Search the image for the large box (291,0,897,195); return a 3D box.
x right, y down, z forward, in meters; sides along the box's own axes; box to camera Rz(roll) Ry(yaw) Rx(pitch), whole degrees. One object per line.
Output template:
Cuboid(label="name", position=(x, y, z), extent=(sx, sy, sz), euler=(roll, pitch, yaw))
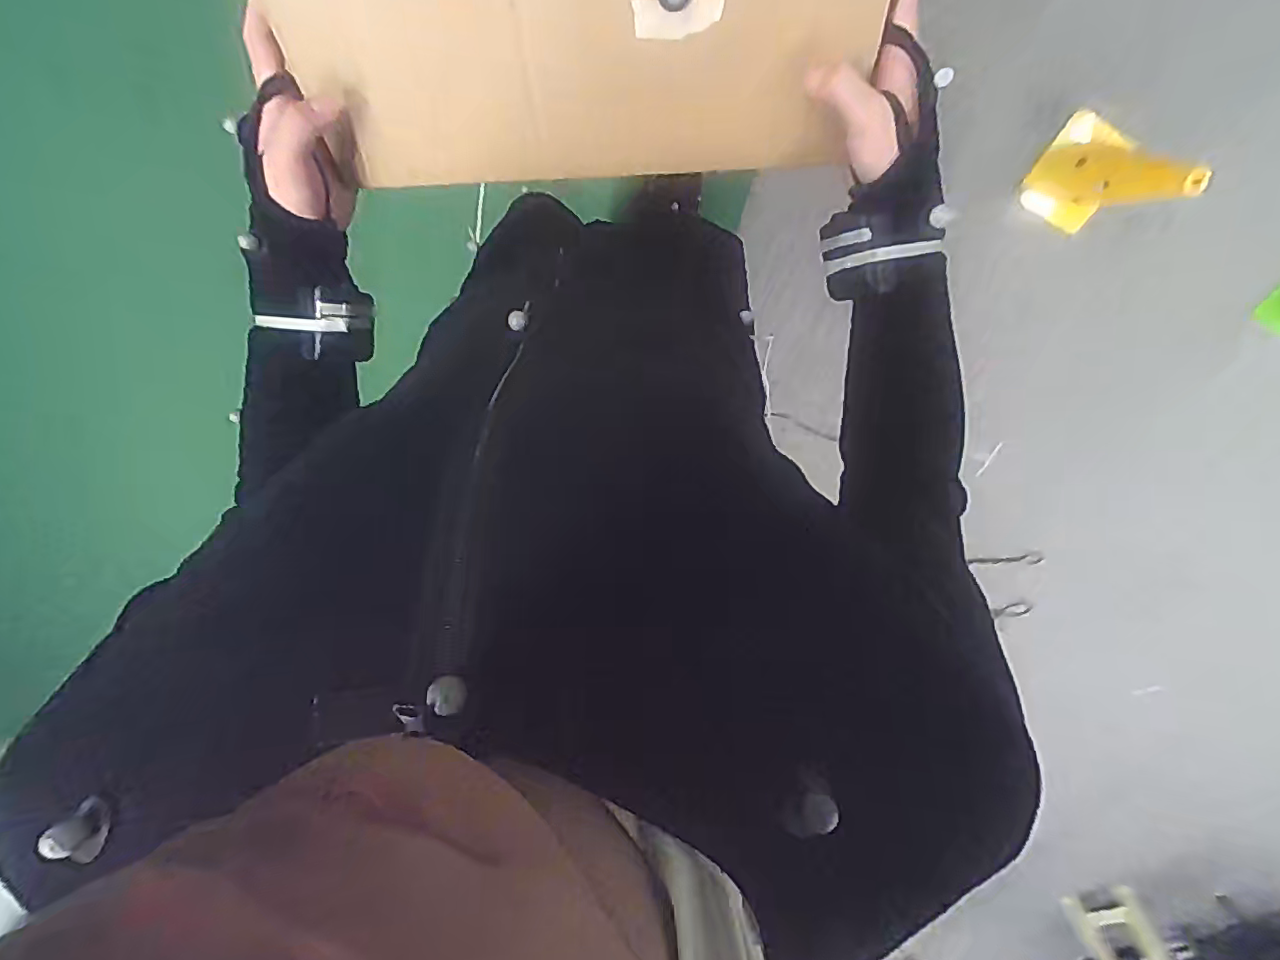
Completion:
Cuboid(label="large box", position=(-0.033, -0.456, 0.413), extent=(0.408, 0.320, 0.320), euler=(-2, 143, 2))

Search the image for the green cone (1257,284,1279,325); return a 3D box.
Cuboid(label="green cone", position=(1.727, -0.398, 1.237), extent=(0.202, 0.368, 0.200), euler=(21, 120, -8))
